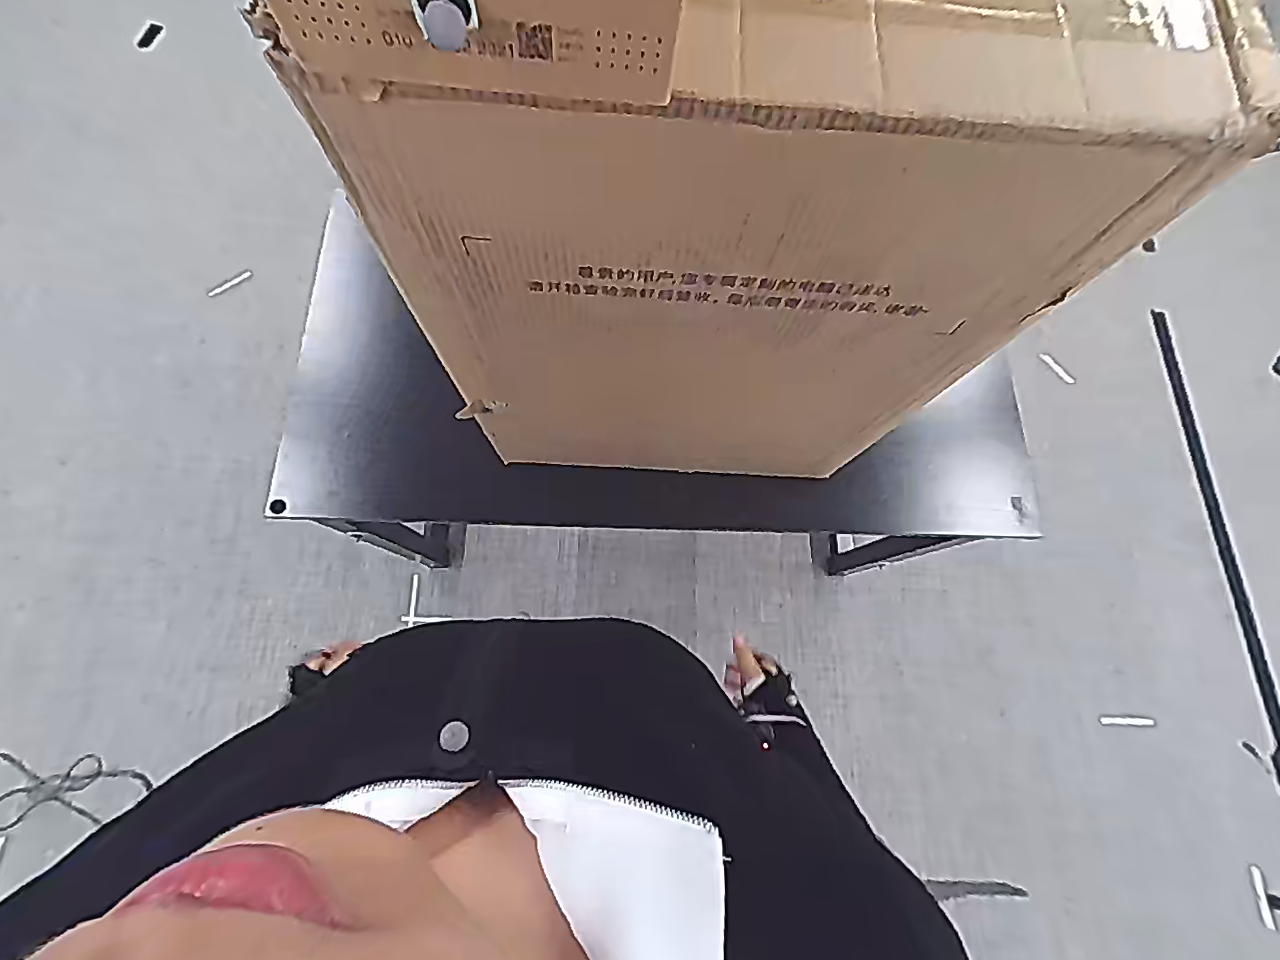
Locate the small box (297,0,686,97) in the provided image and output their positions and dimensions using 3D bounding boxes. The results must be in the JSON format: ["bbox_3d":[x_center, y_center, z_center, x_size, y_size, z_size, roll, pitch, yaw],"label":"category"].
[{"bbox_3d":[-0.059,-0.282,0.187,0.168,0.176,0.179,0,76,-5],"label":"small box"}]
